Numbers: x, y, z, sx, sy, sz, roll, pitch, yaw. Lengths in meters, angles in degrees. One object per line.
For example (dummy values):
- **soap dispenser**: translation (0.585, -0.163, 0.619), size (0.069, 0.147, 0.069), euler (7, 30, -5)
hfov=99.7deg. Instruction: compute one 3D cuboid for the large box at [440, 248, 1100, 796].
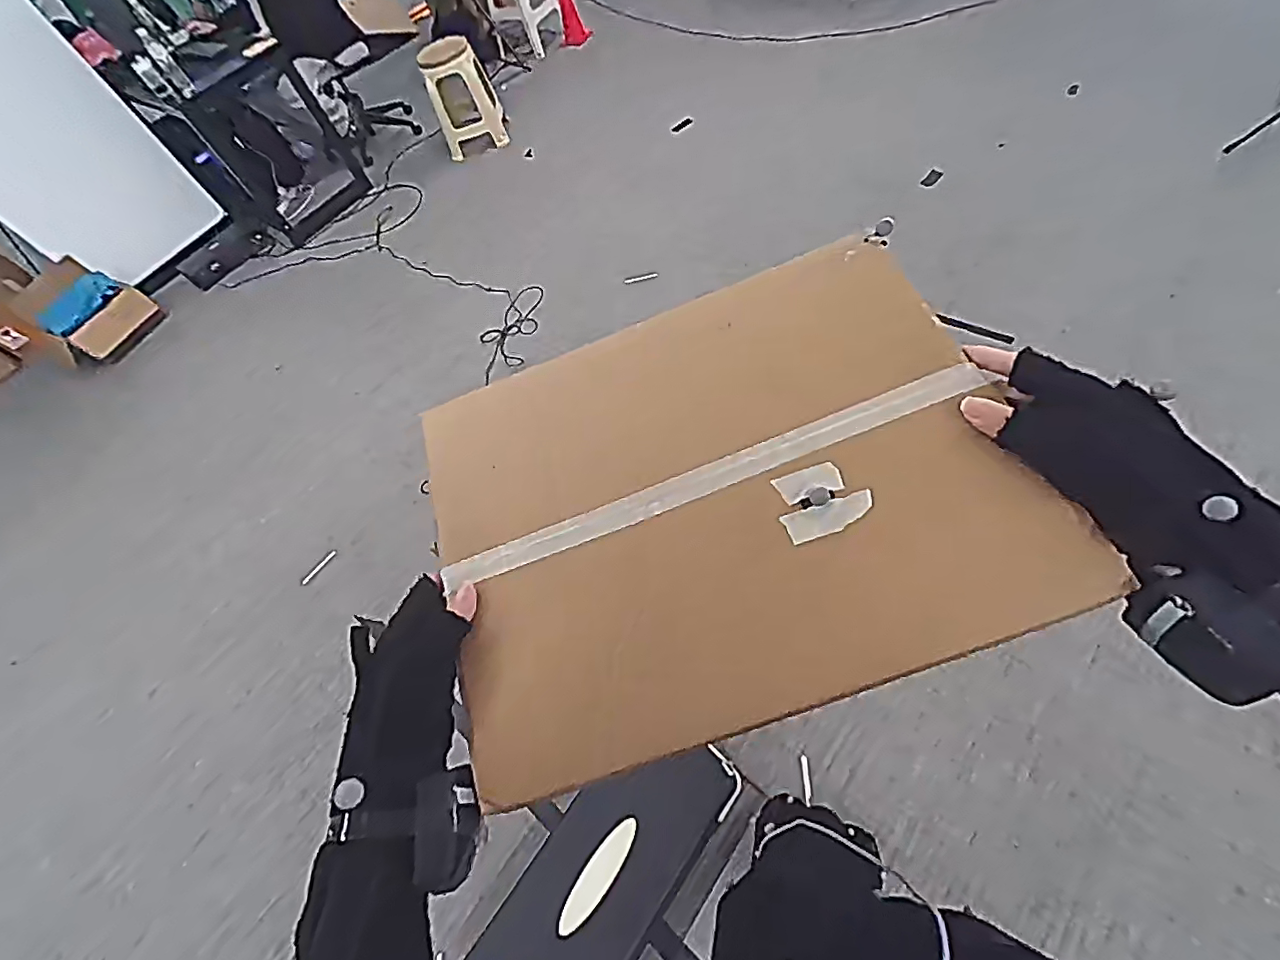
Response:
- **large box**: translation (0.081, 0.063, 0.534), size (0.408, 0.320, 0.320), euler (-21, 64, 4)
